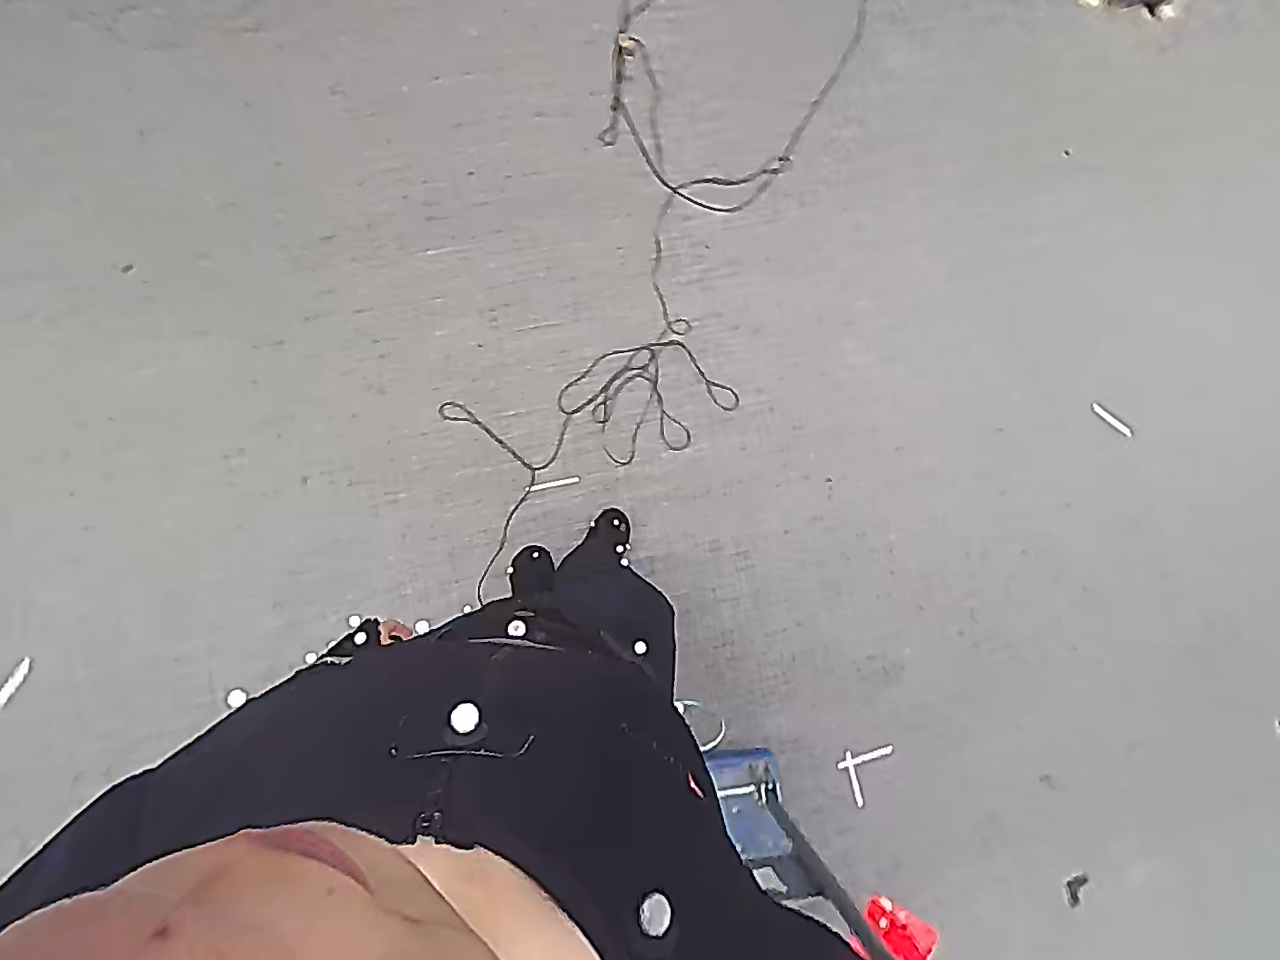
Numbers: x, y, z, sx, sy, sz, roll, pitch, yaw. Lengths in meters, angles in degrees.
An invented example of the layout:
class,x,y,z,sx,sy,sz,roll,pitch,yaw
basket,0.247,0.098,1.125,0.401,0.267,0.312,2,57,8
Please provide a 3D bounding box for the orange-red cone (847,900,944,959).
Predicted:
class,x,y,z,sx,sy,sz,roll,pitch,yaw
orange-red cone,0.640,1.151,1.160,0.198,0.360,0.199,33,84,0
